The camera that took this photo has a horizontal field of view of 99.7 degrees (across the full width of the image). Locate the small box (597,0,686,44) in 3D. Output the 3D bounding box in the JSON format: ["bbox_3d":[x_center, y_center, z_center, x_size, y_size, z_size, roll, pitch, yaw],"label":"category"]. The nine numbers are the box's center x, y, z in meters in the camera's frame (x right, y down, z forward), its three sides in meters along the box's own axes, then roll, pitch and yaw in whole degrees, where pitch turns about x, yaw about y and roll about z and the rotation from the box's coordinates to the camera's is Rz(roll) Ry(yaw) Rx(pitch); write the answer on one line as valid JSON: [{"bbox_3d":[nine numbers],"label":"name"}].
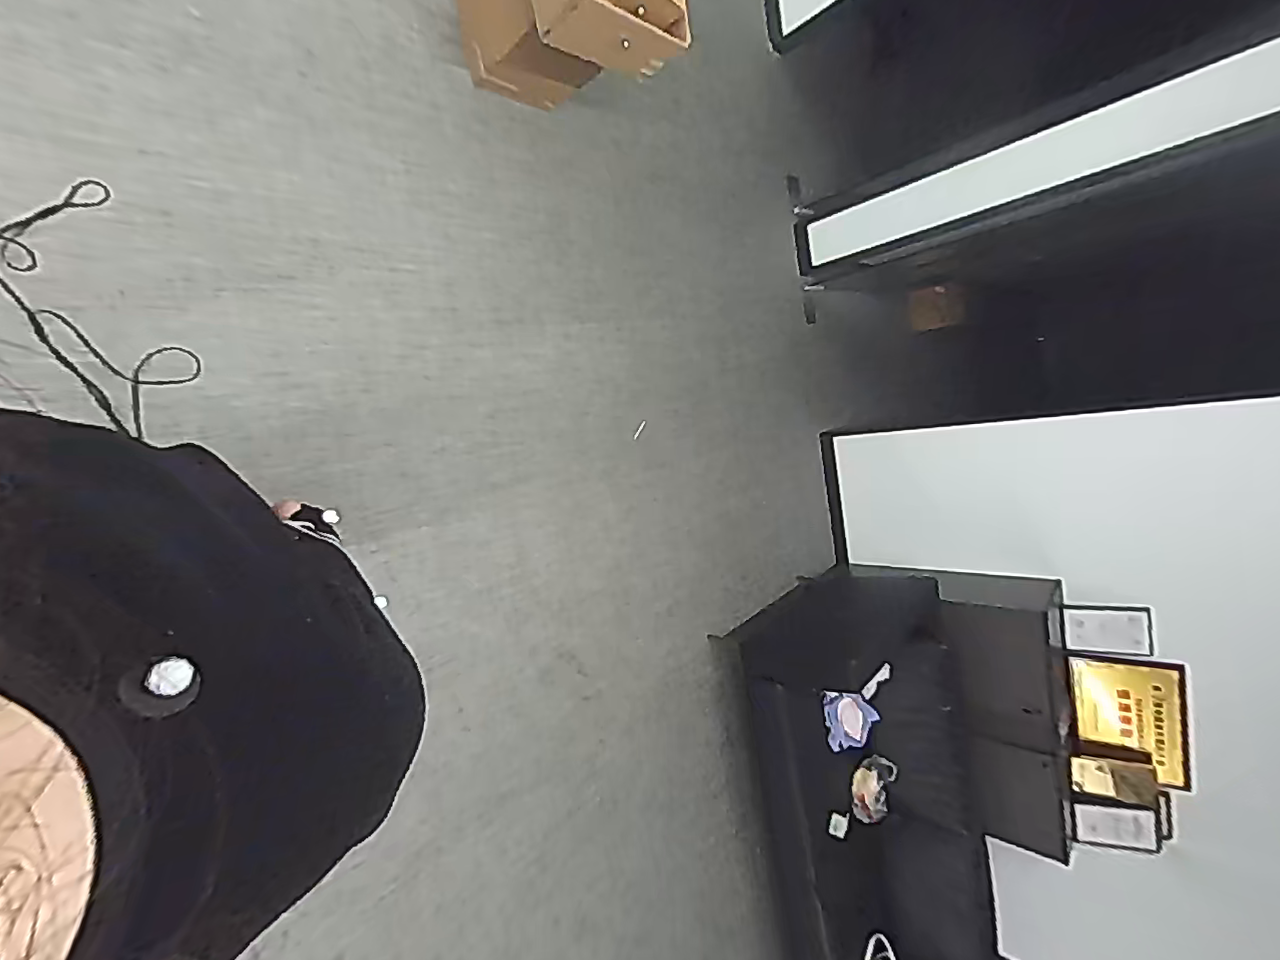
[{"bbox_3d":[-0.003,-1.309,1.425,0.179,0.176,0.168,-7,94,-42],"label":"small box"}]
